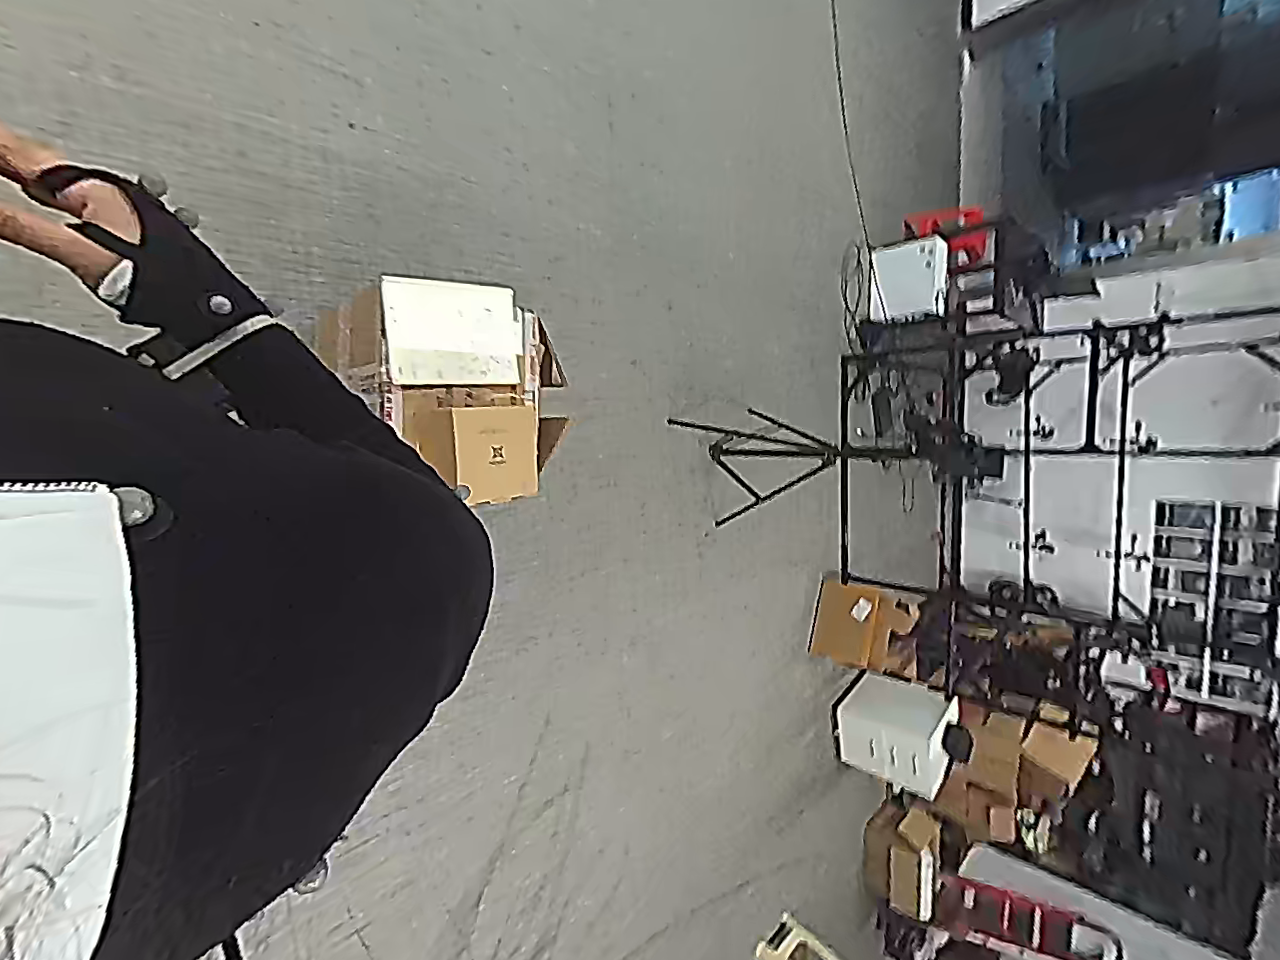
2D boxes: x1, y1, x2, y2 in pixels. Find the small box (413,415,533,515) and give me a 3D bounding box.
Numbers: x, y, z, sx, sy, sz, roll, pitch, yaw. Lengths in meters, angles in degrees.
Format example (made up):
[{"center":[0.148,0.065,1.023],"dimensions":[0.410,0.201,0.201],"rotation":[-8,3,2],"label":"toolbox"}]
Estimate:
[{"center":[-0.330,-0.038,1.065],"dimensions":[0.168,0.176,0.179],"rotation":[-10,101,-43],"label":"small box"}]
